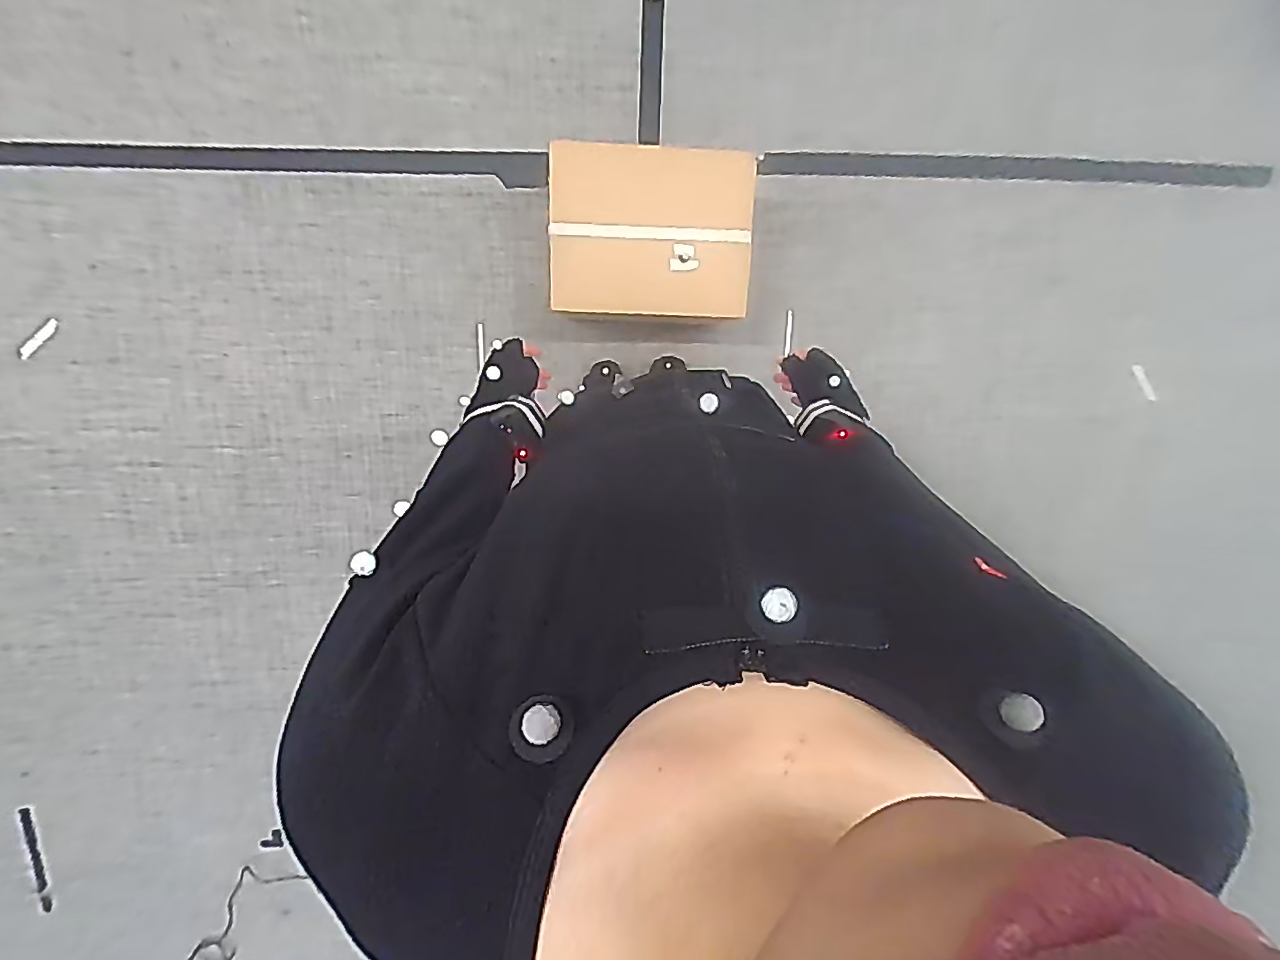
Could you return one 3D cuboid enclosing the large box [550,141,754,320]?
[{"bbox_3d":[0.013,-0.533,1.223,0.408,0.320,0.320,0,104,-4],"label":"large box"}]
